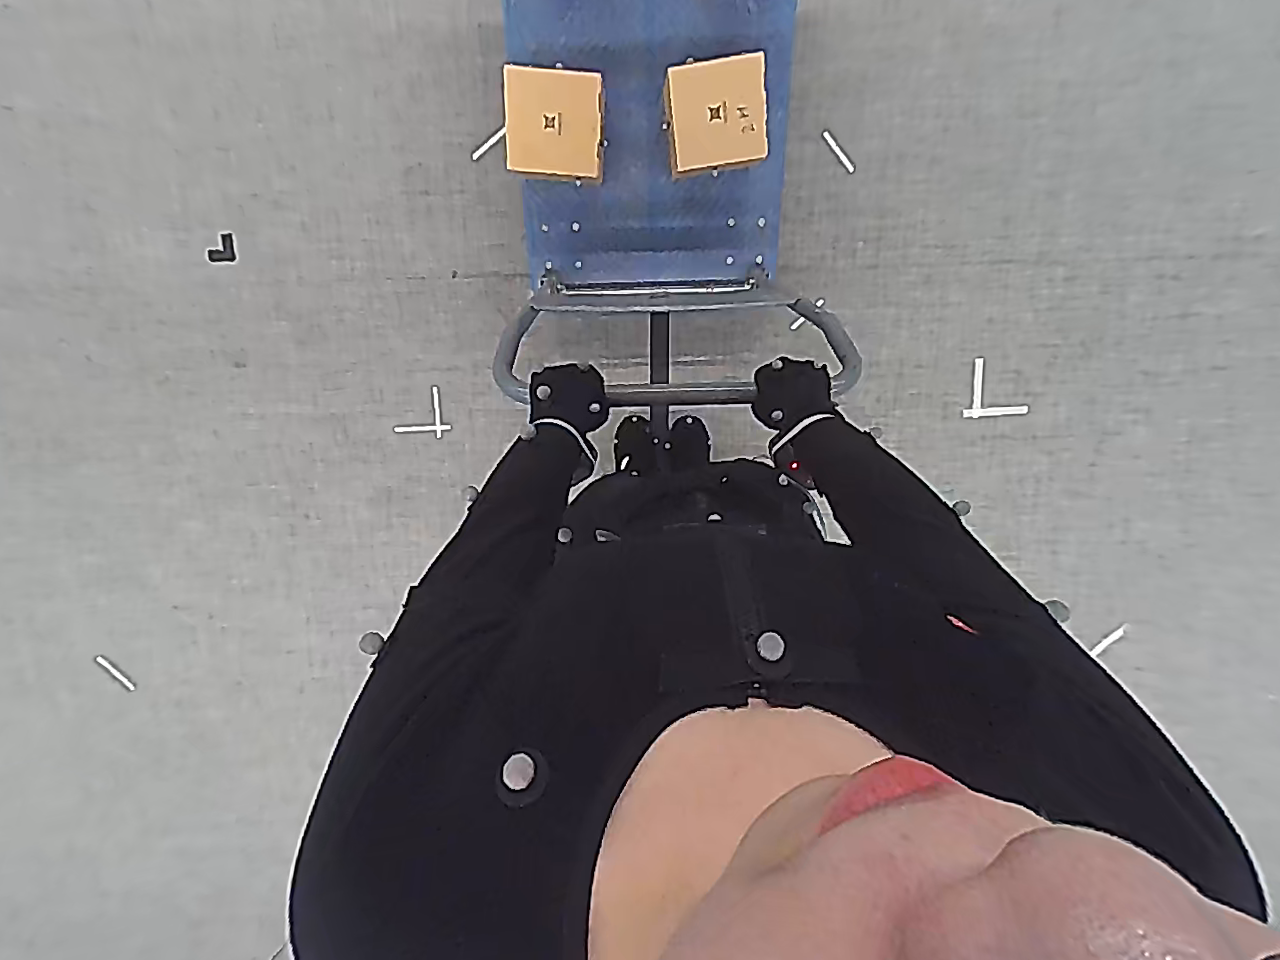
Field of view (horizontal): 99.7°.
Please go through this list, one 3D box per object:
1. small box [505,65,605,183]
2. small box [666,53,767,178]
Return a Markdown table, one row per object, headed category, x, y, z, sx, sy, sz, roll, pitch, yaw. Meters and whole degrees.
| category | x | y | z | sx | sy | sz | roll | pitch | yaw |
| --- | --- | --- | --- | --- | --- | --- | --- | --- | --- |
| small box | -0.162 | -0.692 | 1.071 | 0.179 | 0.176 | 0.168 | 2 | 115 | -3 |
| small box | 0.146 | -0.706 | 1.067 | 0.179 | 0.176 | 0.168 | -7 | 115 | 3 |
